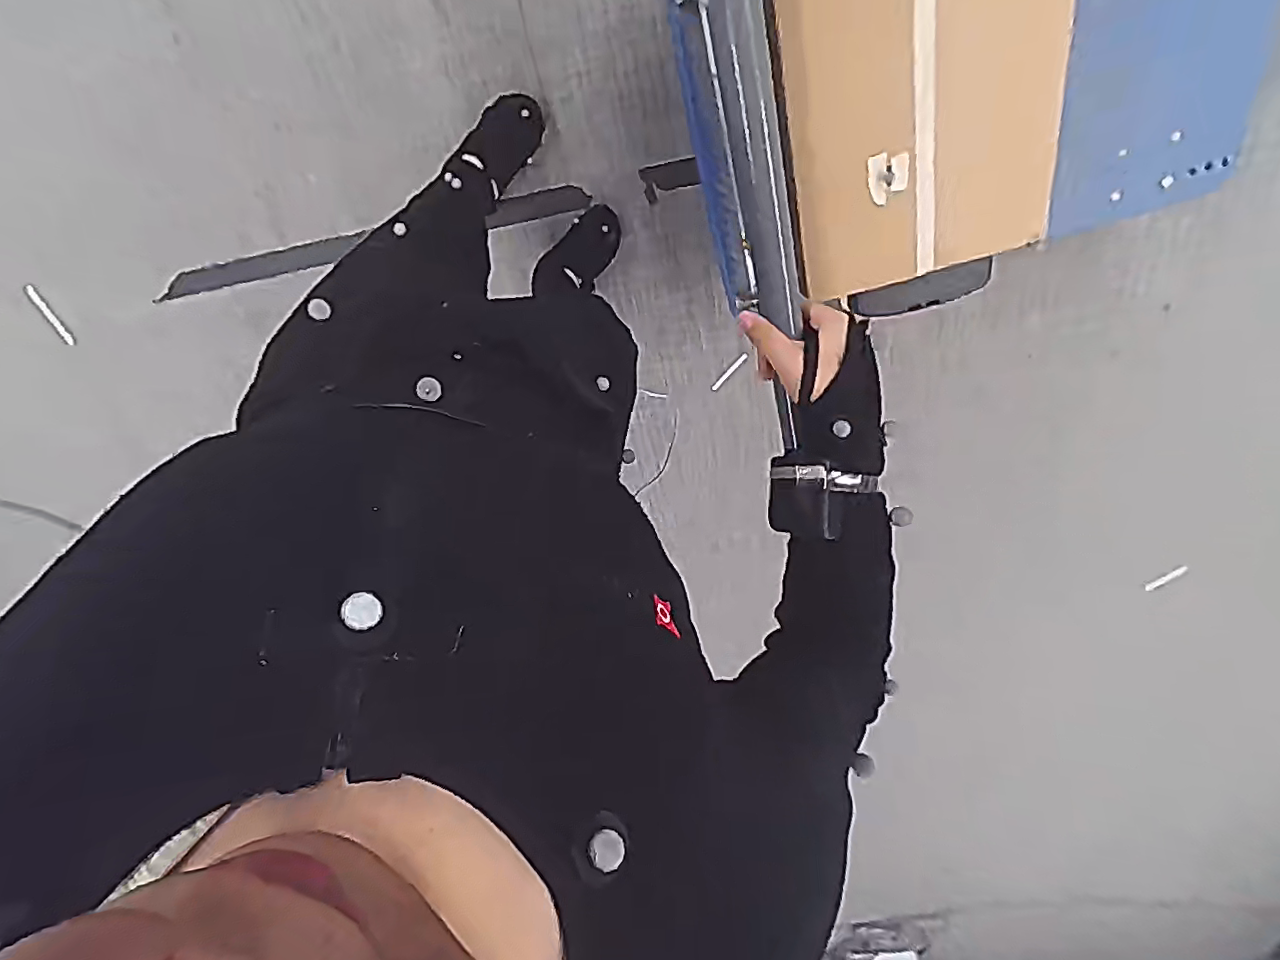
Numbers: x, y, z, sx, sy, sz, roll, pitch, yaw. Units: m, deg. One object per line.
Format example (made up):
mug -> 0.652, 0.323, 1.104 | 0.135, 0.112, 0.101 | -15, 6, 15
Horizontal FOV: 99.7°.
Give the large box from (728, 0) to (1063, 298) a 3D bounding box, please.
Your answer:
large box -> 0.332, -0.537, 0.765 | 0.320, 0.320, 0.408 | -13, 124, 10
